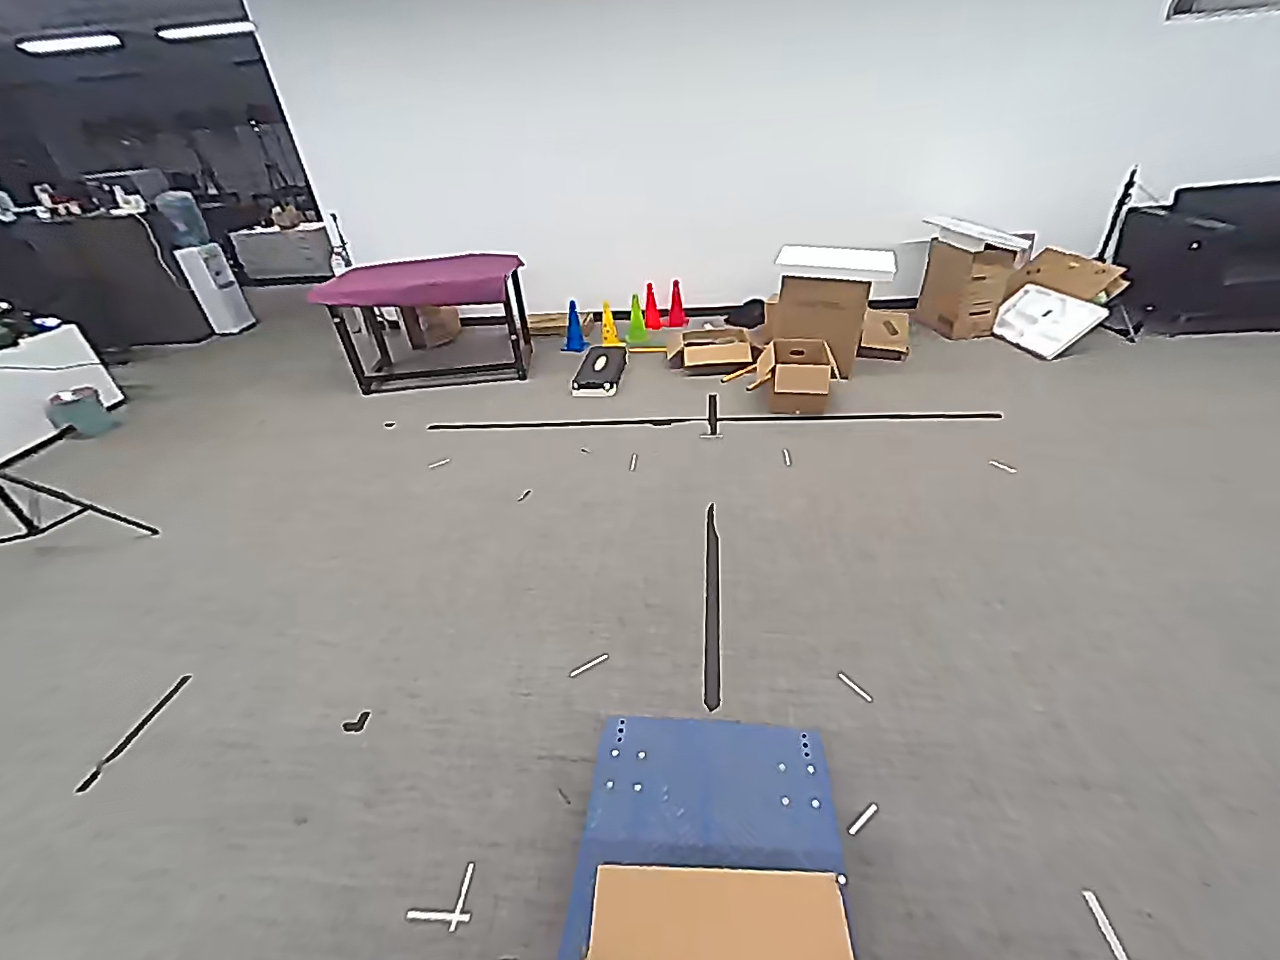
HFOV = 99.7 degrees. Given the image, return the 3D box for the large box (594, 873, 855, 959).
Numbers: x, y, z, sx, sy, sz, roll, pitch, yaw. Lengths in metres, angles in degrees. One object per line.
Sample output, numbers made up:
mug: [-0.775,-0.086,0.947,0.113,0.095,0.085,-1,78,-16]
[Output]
large box: [0.132,0.879,0.871,0.408,0.320,0.320,-1,34,4]
